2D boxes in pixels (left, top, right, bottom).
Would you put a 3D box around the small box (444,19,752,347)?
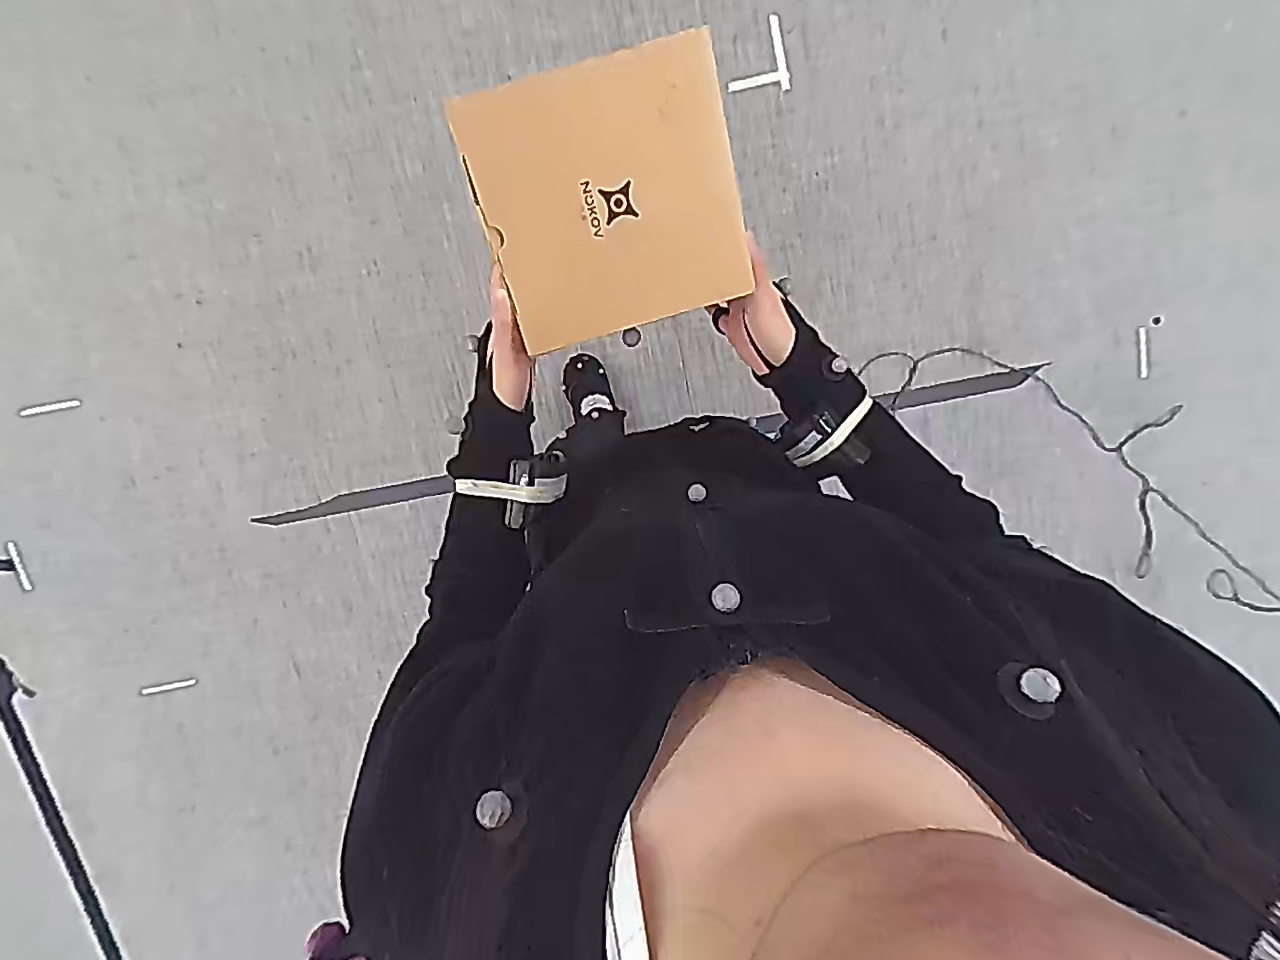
[{"bbox_3d":[-0.029,-0.221,0.439,0.179,0.176,0.168,-16,111,1],"label":"small box"}]
